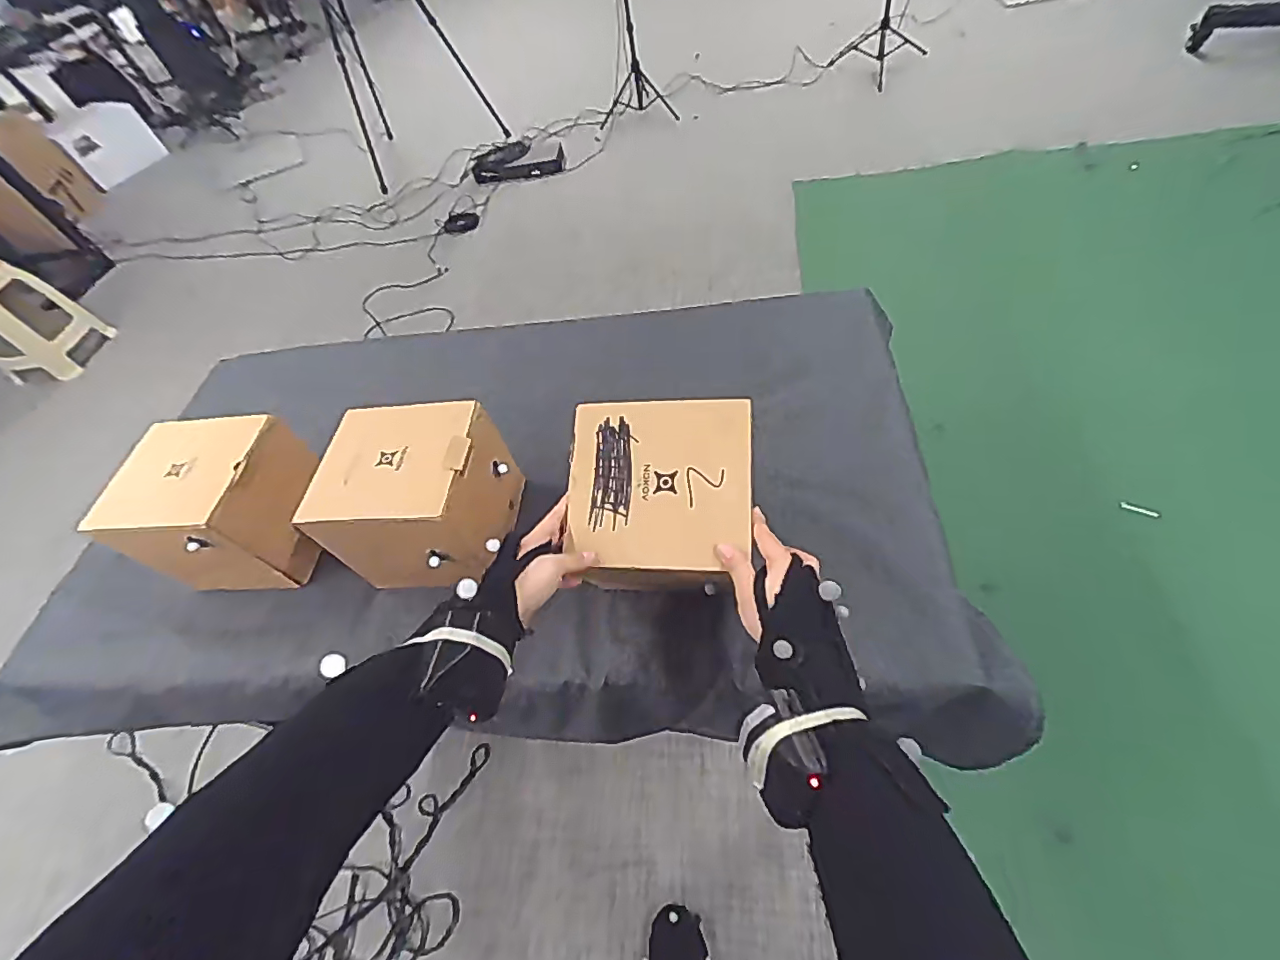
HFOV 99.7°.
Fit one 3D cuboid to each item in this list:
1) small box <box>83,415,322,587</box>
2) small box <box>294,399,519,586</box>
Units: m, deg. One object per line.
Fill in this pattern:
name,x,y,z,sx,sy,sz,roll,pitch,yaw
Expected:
small box,-0.543,0.034,0.720,0.179,0.176,0.168,-4,54,8
small box,-0.267,0.022,0.671,0.179,0.176,0.168,-4,53,10
